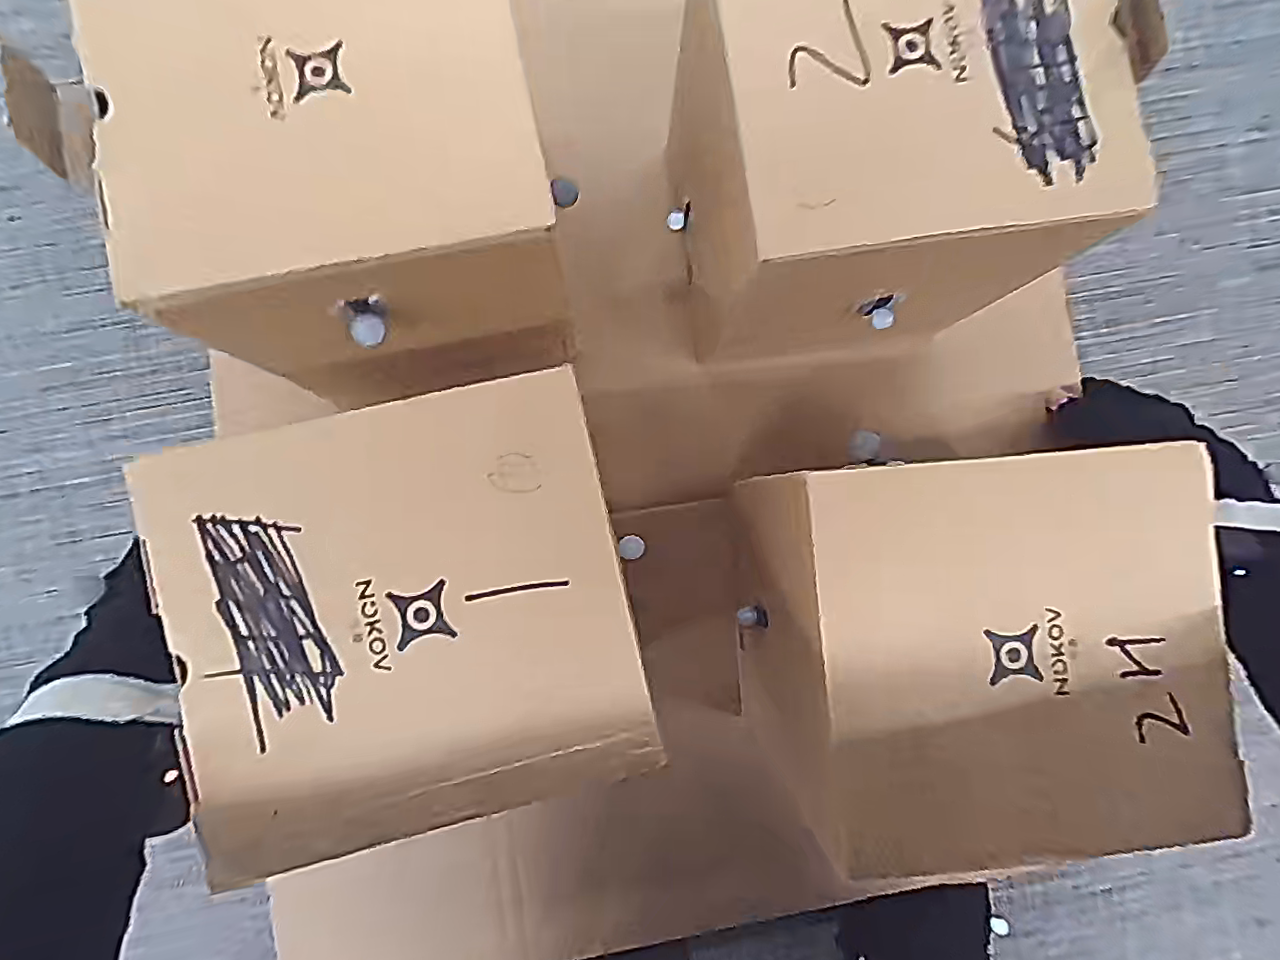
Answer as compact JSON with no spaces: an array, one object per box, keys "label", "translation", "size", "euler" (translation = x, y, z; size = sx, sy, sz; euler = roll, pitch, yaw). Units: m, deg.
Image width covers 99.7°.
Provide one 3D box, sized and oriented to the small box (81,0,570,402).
[{"label":"small box","translation":[-0.141,-0.154,0.309],"size":[0.179,0.176,0.168],"euler":[-13,86,-2]}]
